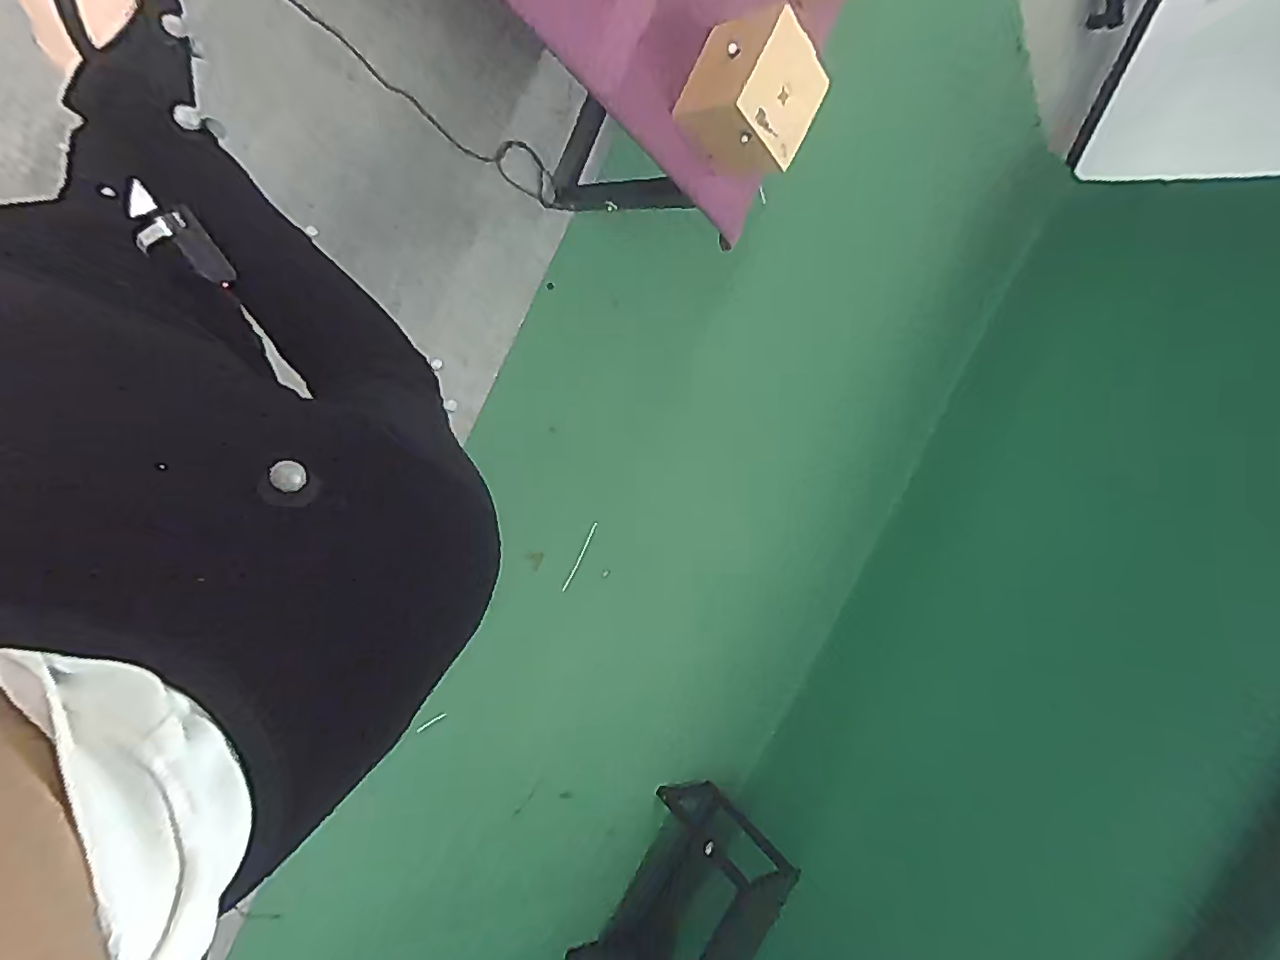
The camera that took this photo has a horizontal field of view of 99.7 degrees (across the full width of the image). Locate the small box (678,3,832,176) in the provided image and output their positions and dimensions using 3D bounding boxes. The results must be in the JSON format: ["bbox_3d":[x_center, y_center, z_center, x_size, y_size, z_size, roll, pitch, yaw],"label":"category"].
[{"bbox_3d":[0.197,-0.669,0.952,0.168,0.176,0.179,24,95,-42],"label":"small box"}]
